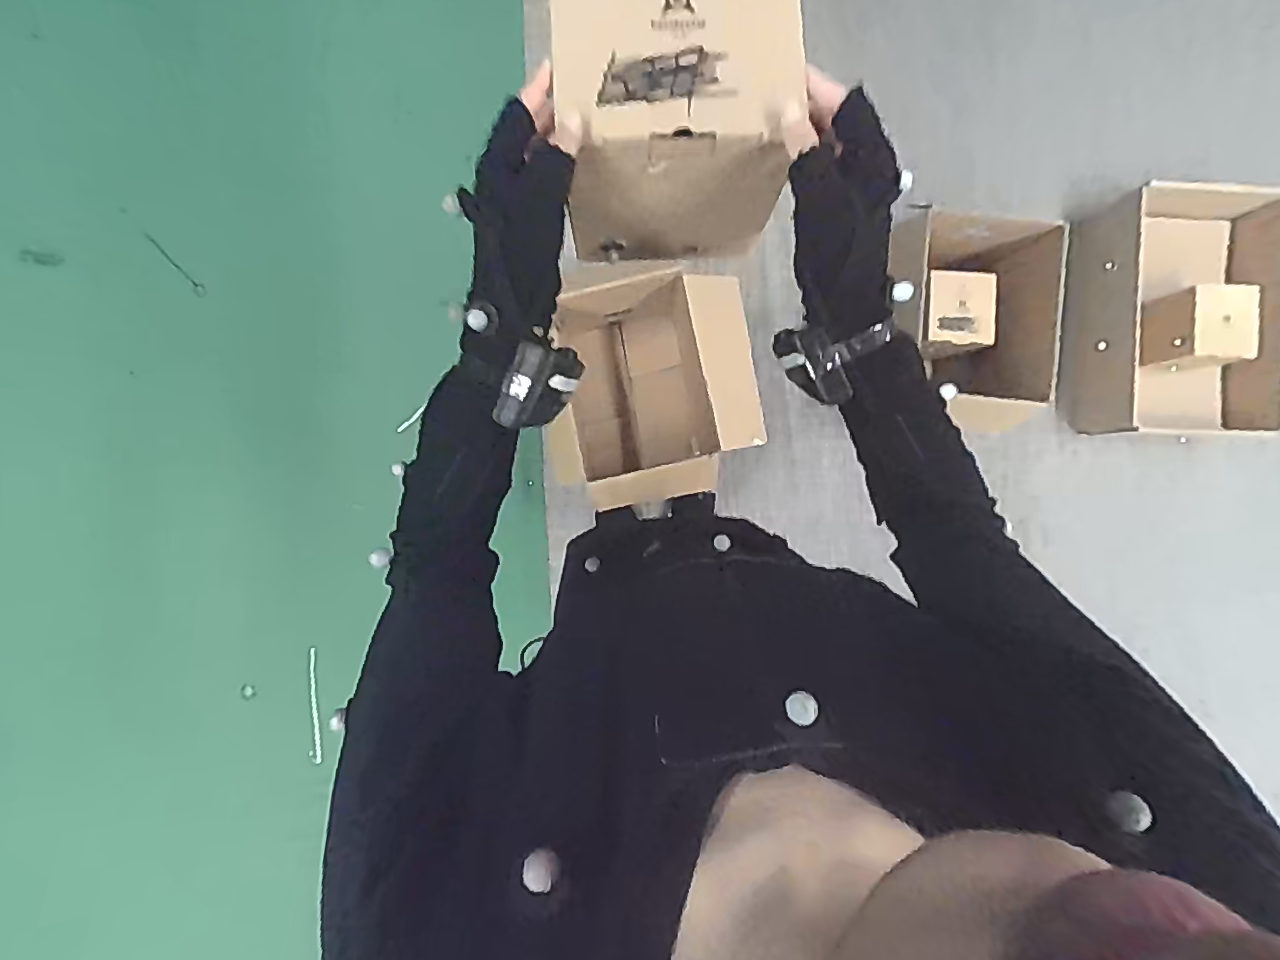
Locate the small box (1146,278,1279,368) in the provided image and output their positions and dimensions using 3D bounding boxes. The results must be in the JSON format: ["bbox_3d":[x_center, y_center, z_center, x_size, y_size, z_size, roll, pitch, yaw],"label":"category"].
[{"bbox_3d":[1.432,-0.389,1.362,0.168,0.176,0.179,1,90,-1],"label":"small box"}]

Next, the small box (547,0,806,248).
[{"bbox_3d":[0.023,-0.300,0.428,0.168,0.176,0.179,-3,86,0],"label":"small box"}]
